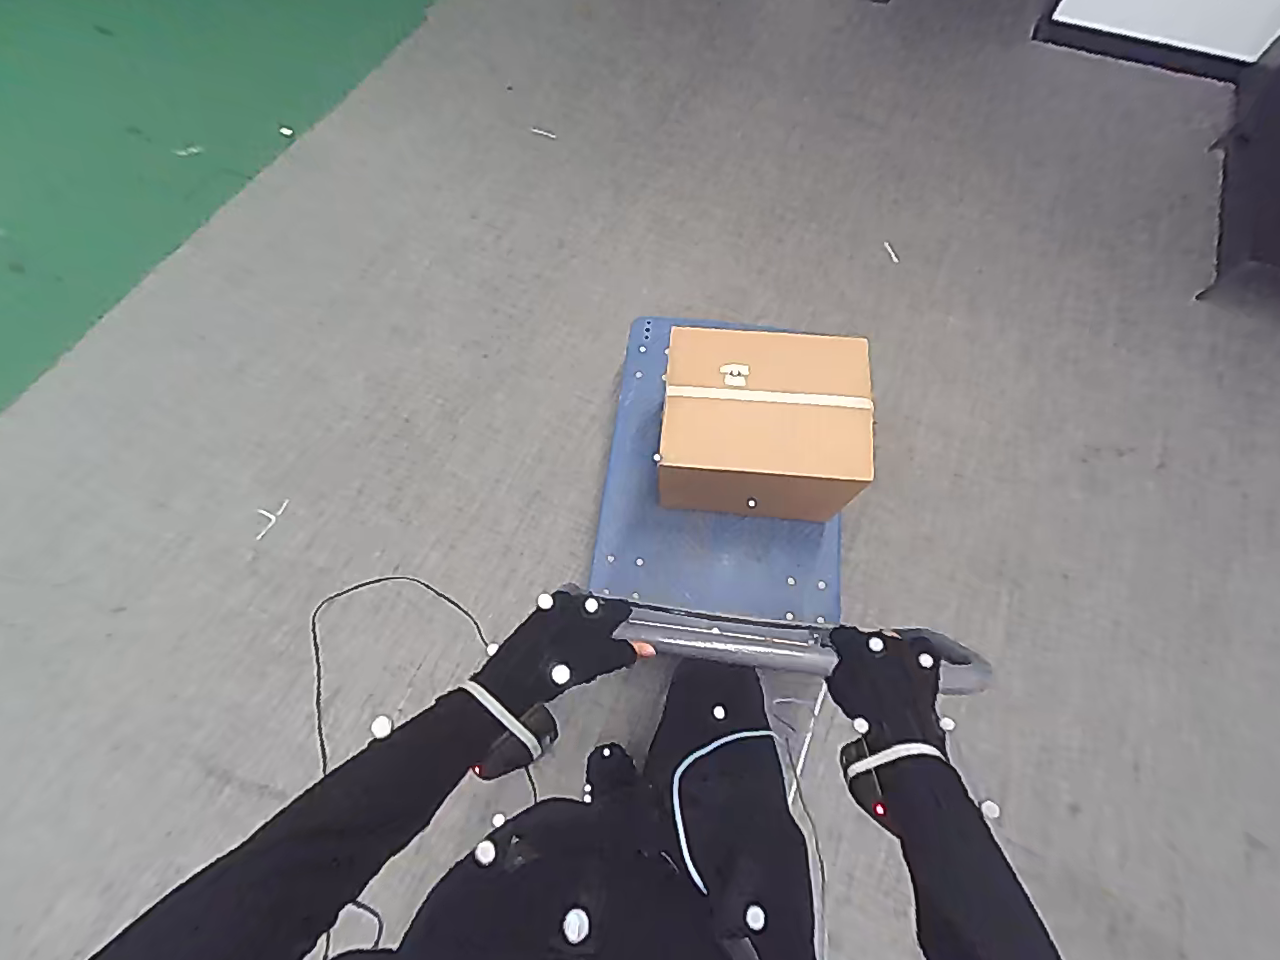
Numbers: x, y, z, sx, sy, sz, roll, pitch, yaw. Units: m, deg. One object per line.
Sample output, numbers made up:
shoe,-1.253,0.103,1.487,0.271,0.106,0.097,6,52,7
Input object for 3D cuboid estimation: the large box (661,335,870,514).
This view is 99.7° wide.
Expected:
large box,0.258,-0.110,1.224,0.408,0.320,0.320,3,72,5
